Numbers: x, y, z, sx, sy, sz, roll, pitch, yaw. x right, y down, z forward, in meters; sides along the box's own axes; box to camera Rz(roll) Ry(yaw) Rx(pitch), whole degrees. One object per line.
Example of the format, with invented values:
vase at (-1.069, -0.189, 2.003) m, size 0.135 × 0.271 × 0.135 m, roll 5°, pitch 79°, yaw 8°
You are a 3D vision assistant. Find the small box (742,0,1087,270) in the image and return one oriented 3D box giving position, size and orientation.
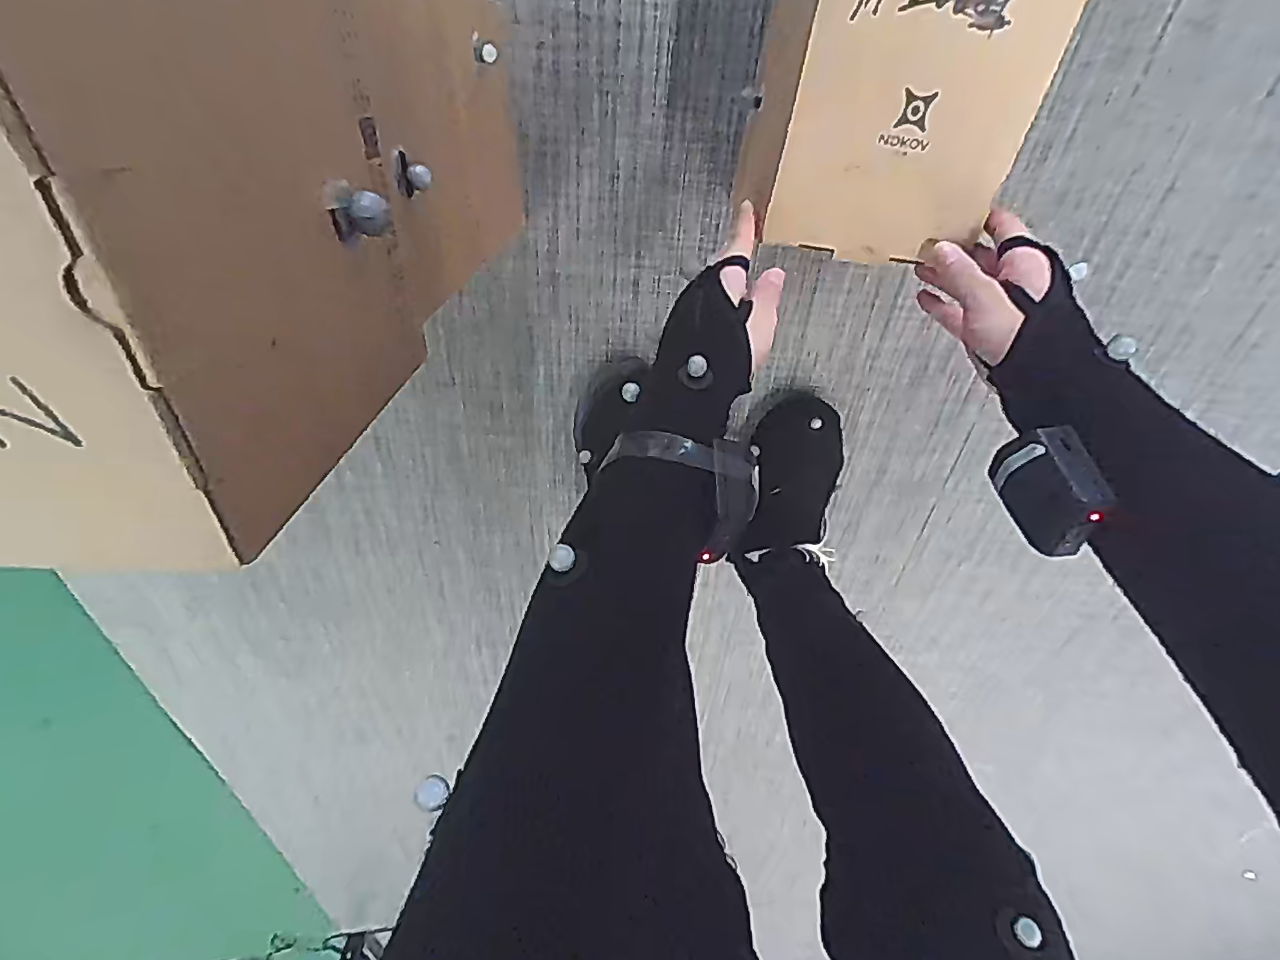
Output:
small box at (0.188, -0.297, 0.442) m, size 0.168 × 0.176 × 0.179 m, roll 7°, pitch 128°, yaw -5°

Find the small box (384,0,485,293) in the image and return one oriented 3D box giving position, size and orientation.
small box at (-0.198, -0.203, 0.317) m, size 0.168 × 0.176 × 0.179 m, roll 2°, pitch 124°, yaw -1°
